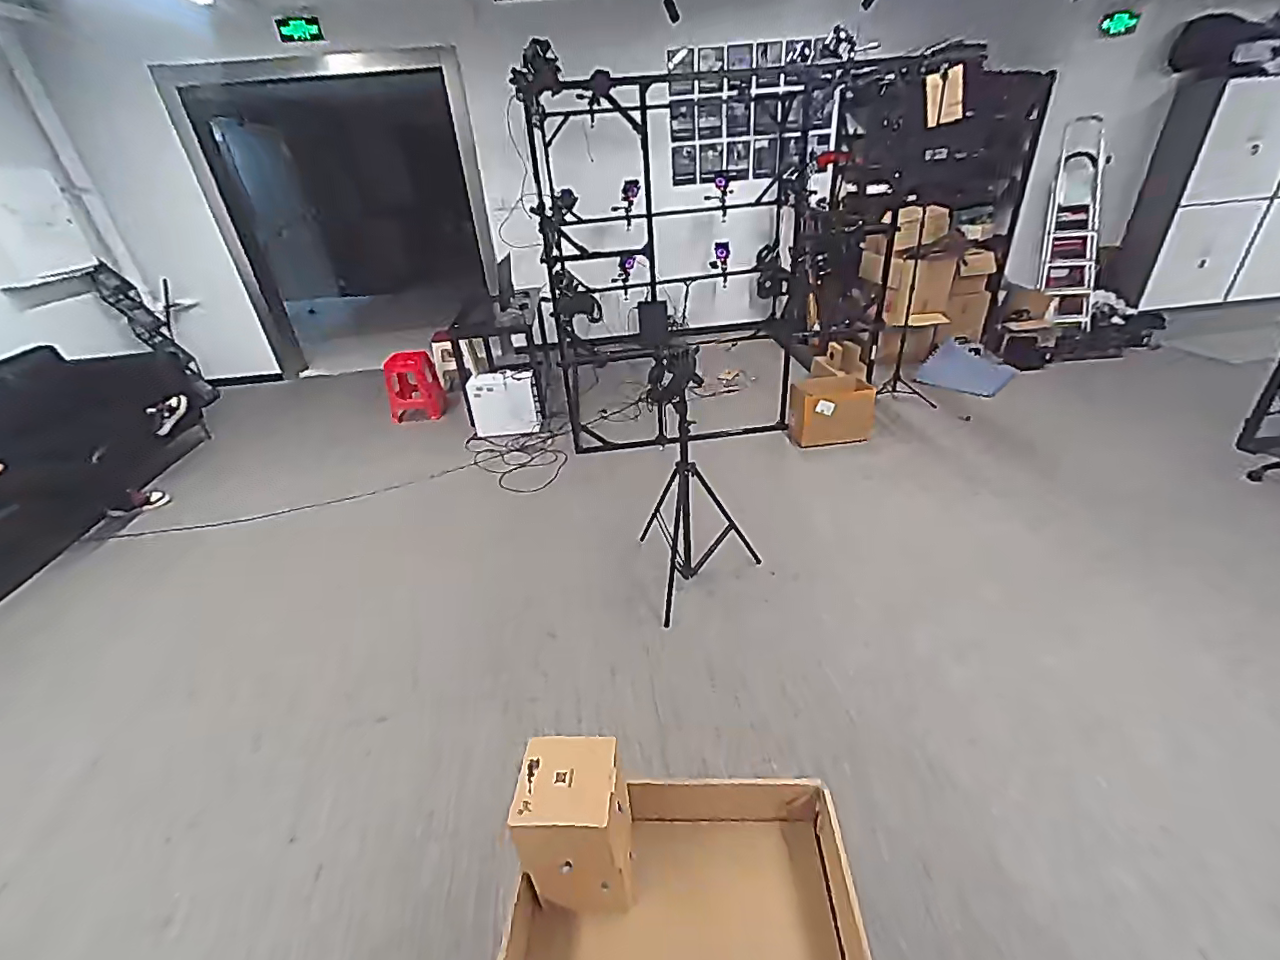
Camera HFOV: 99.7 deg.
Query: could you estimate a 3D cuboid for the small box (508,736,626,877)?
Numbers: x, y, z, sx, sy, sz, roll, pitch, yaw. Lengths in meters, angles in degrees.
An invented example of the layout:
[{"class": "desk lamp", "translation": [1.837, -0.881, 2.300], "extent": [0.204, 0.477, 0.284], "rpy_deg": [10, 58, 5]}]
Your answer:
[{"class": "small box", "translation": [-0.123, 0.601, 0.997], "extent": [0.179, 0.176, 0.168], "rpy_deg": [-1, 30, 6]}]
